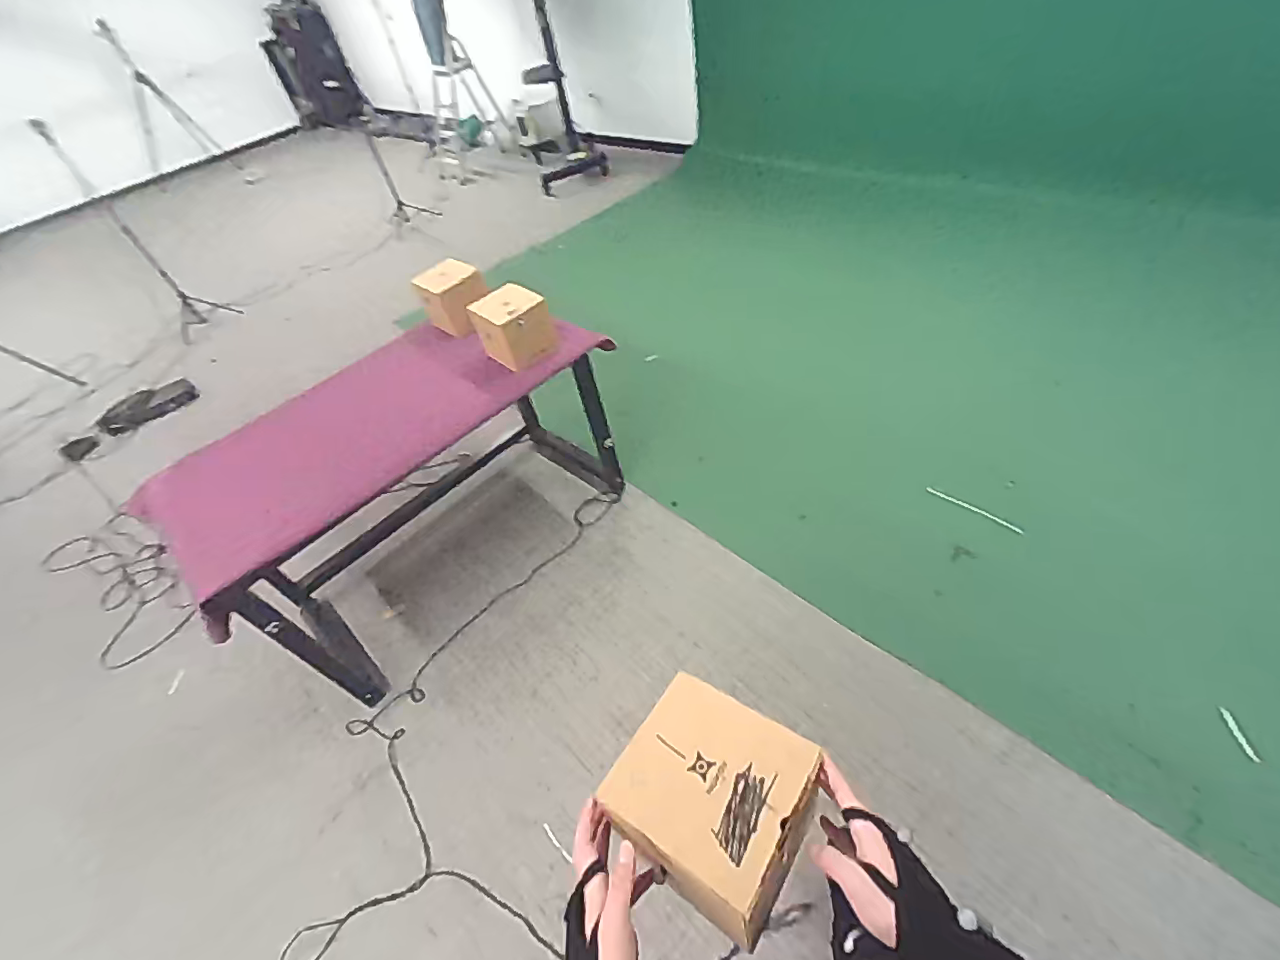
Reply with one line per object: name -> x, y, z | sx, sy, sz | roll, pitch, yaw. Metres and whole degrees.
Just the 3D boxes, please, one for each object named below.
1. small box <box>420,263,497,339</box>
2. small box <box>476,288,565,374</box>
small box -> -0.600, -0.603, 1.832 | 0.179, 0.176, 0.168 | 32, 65, 34
small box -> -0.355, -0.446, 1.627 | 0.168, 0.176, 0.179 | -41, 52, -20
